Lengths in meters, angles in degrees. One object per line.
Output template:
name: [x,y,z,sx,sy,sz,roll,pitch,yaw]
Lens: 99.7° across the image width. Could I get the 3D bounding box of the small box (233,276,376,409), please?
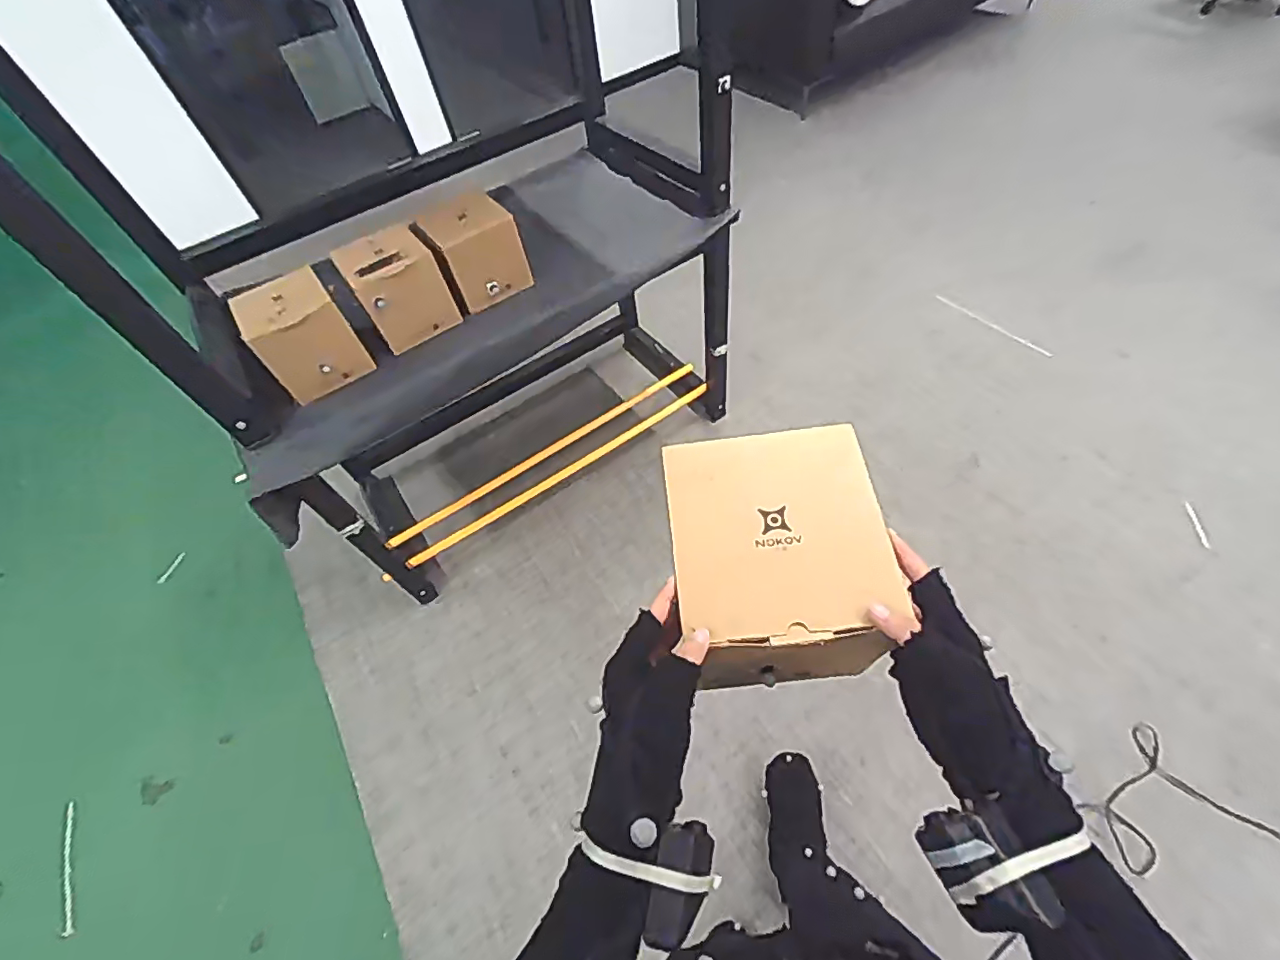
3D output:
small box: [-0.672,-0.276,1.094,0.168,0.176,0.179,-34,56,-16]
